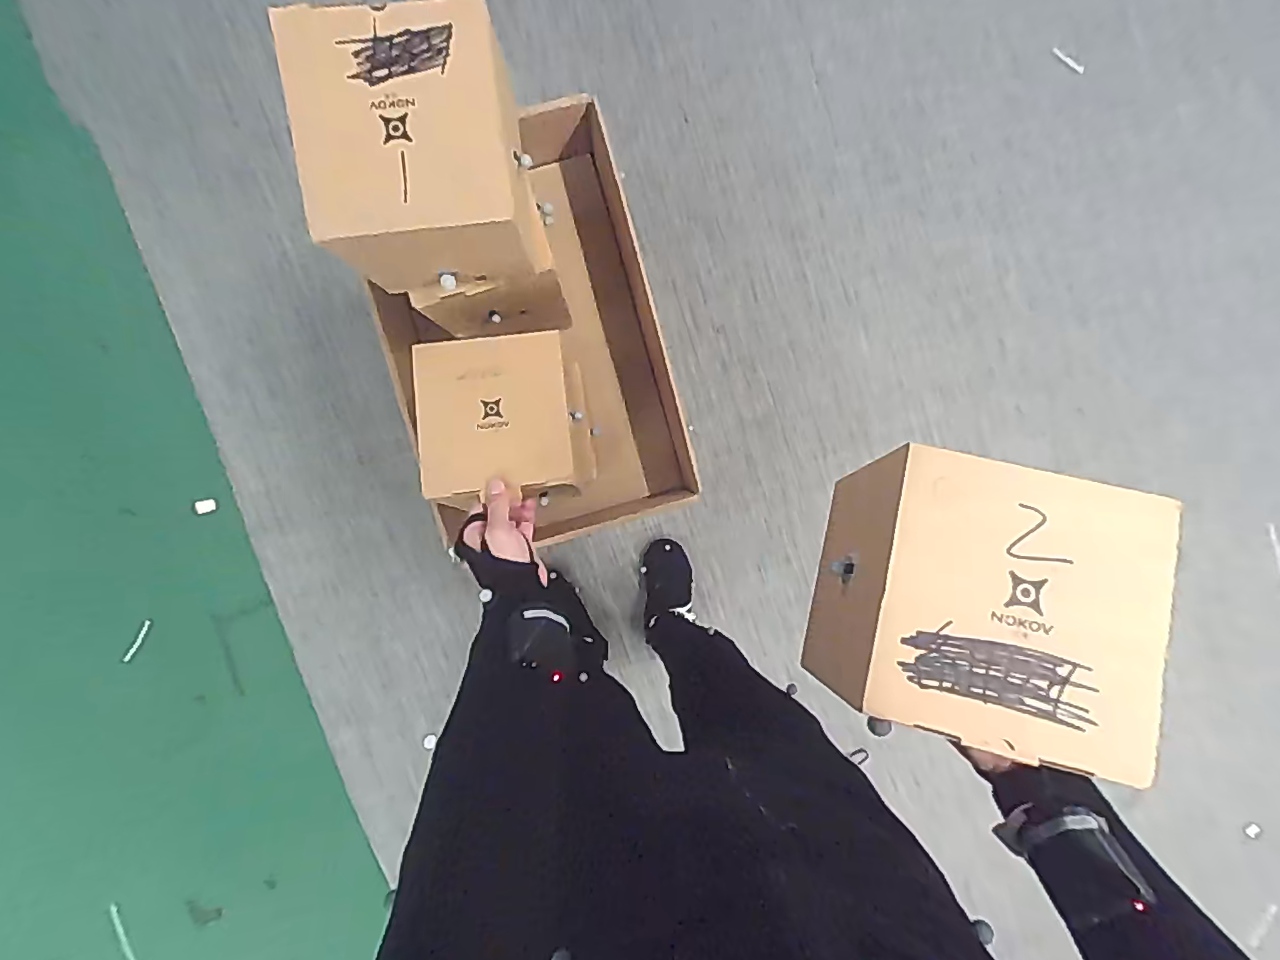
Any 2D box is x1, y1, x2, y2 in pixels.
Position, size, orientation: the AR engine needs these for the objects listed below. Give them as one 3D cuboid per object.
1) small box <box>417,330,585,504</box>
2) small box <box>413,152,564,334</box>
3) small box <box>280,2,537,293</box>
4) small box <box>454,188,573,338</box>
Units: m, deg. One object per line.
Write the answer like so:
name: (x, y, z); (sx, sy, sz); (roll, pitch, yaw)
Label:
small box: (-0.162, -0.065, 0.676); (0.168, 0.176, 0.179); (-6, 81, -2)
small box: (-0.201, -0.304, 0.681); (0.168, 0.176, 0.179); (-17, 95, -2)
small box: (-0.199, -0.295, 0.516); (0.168, 0.176, 0.179); (-7, 96, -3)
small box: (-0.209, -0.317, 0.841); (0.168, 0.176, 0.179); (-16, 95, -1)
